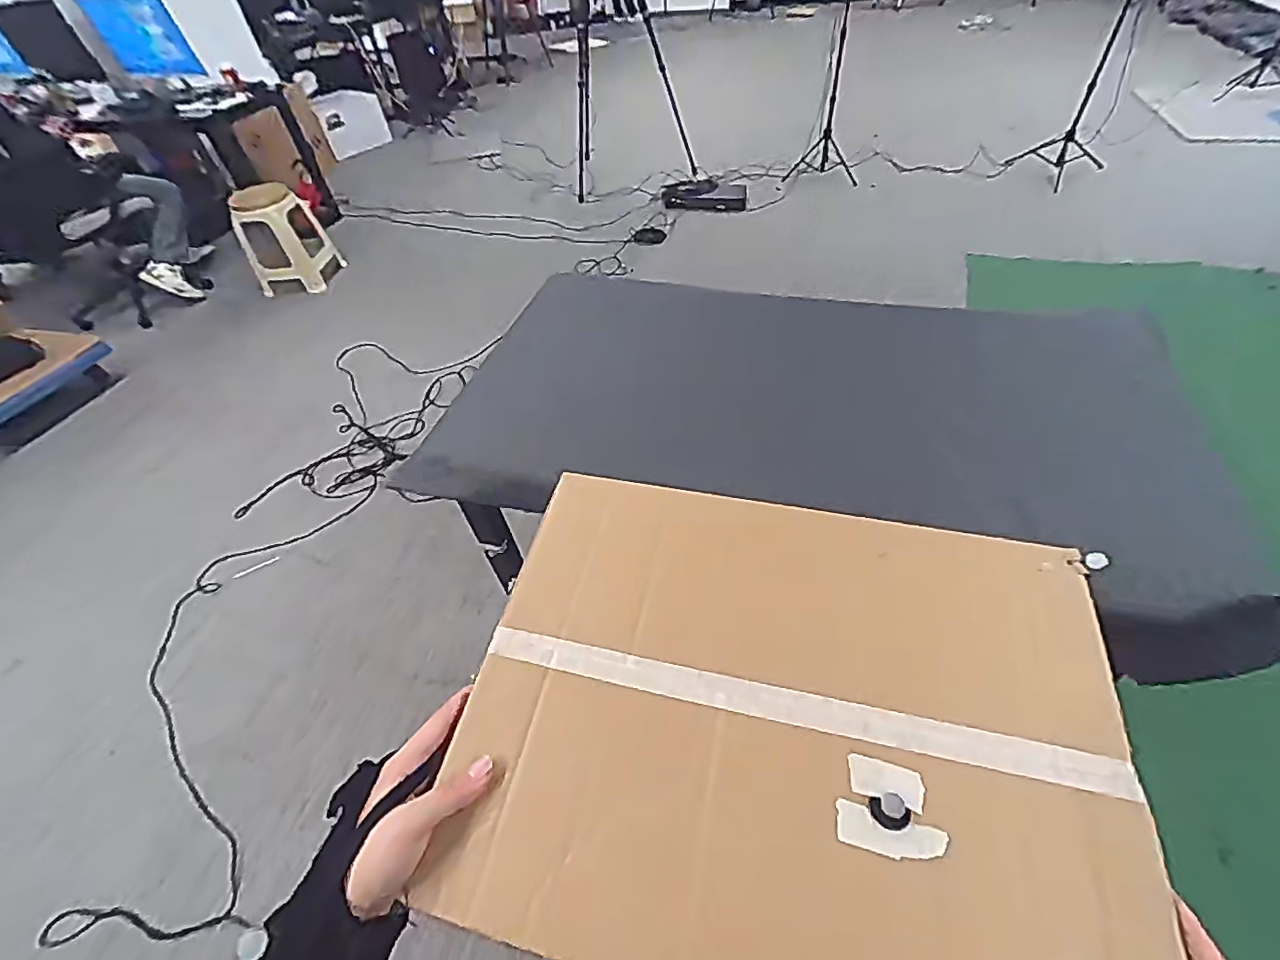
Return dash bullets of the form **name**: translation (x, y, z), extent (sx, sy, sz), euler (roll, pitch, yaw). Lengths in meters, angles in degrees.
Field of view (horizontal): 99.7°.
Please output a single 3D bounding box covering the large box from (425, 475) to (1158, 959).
- **large box**: translation (0.104, 0.230, 0.488), extent (0.408, 0.320, 0.320), euler (9, 55, 11)
